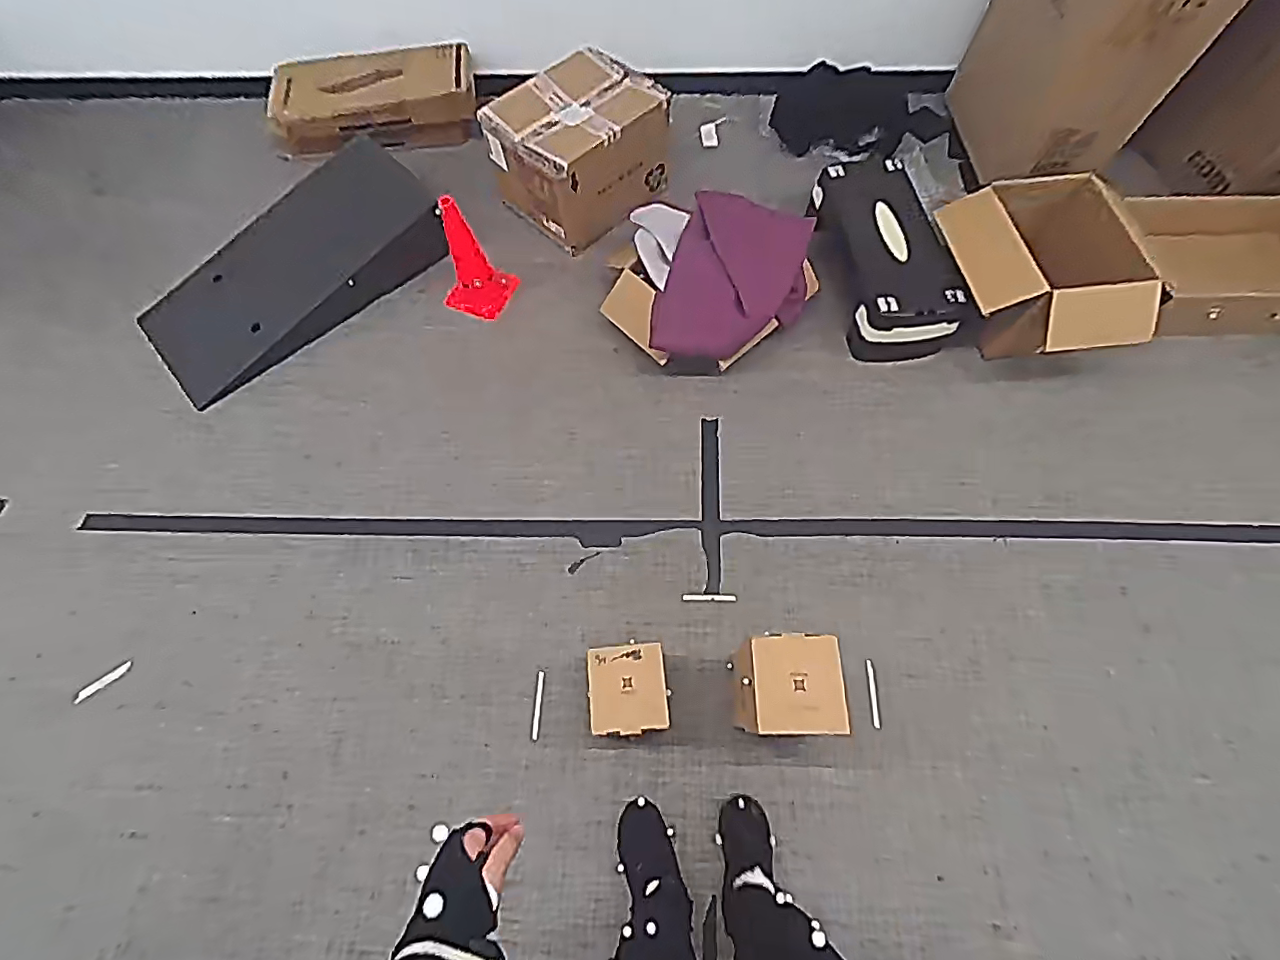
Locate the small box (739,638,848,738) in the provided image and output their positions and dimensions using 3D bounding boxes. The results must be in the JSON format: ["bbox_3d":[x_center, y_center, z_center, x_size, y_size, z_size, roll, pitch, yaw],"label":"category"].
[{"bbox_3d":[0.294,0.415,1.074,0.168,0.176,0.179,-1,67,2],"label":"small box"}]

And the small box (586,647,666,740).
[{"bbox_3d":[-0.028,0.483,1.226,0.168,0.176,0.179,-5,66,-1],"label":"small box"}]

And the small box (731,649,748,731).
[{"bbox_3d":[0.302,0.483,1.221,0.179,0.176,0.168,4,66,2],"label":"small box"}]
